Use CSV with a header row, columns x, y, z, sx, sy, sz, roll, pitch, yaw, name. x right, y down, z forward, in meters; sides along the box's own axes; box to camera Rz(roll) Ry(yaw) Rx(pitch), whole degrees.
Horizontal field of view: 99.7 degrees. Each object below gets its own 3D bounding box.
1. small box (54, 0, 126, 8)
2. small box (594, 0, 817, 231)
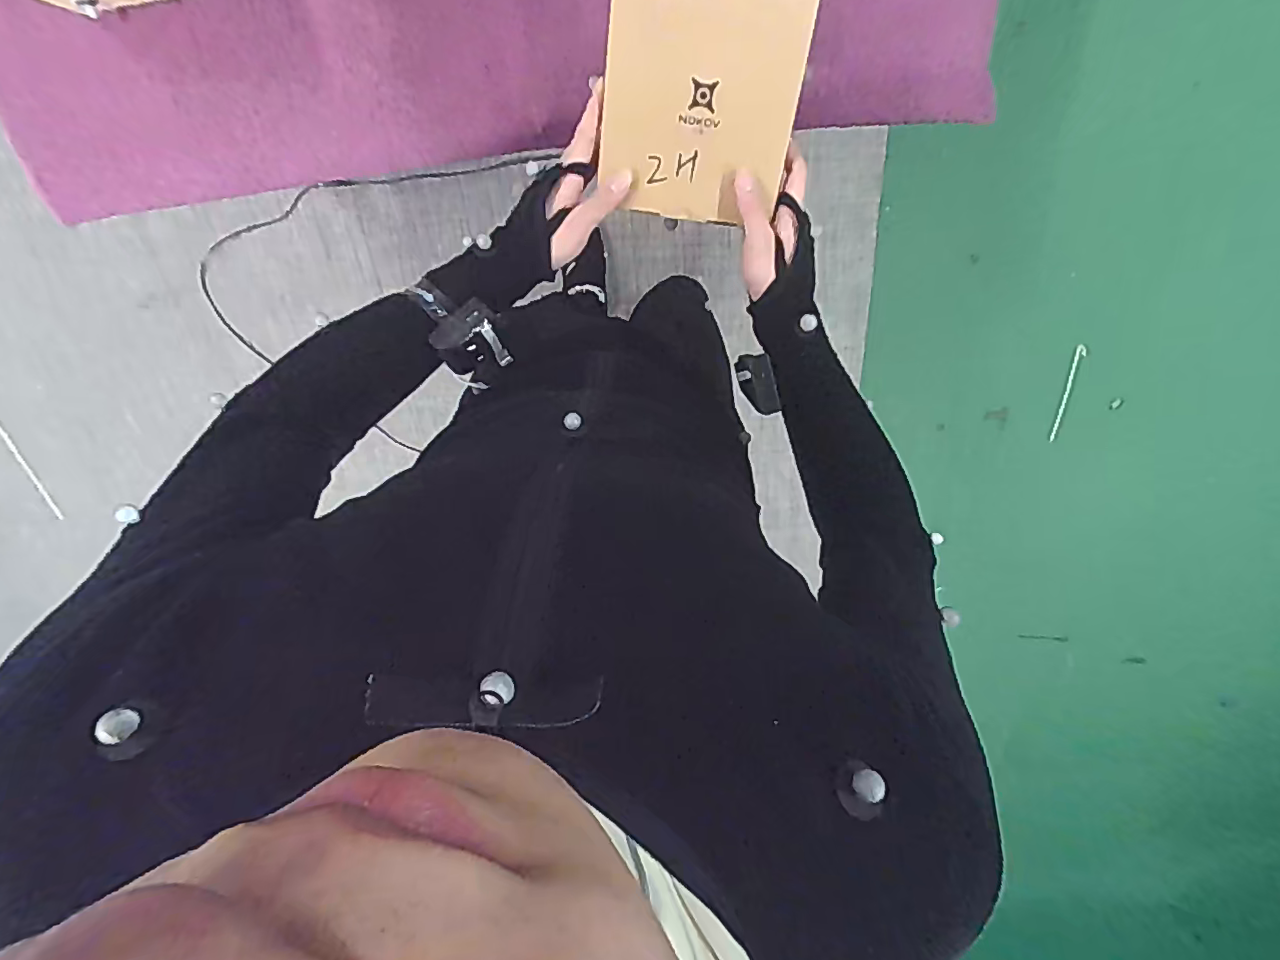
x,y,z,sx,sy,sz,roll,pitch,yaw,name
-0.562,-0.575,0.499,0.168,0.176,0.179,-10,116,1,small box
0.047,-0.355,0.529,0.168,0.176,0.179,6,119,-5,small box
